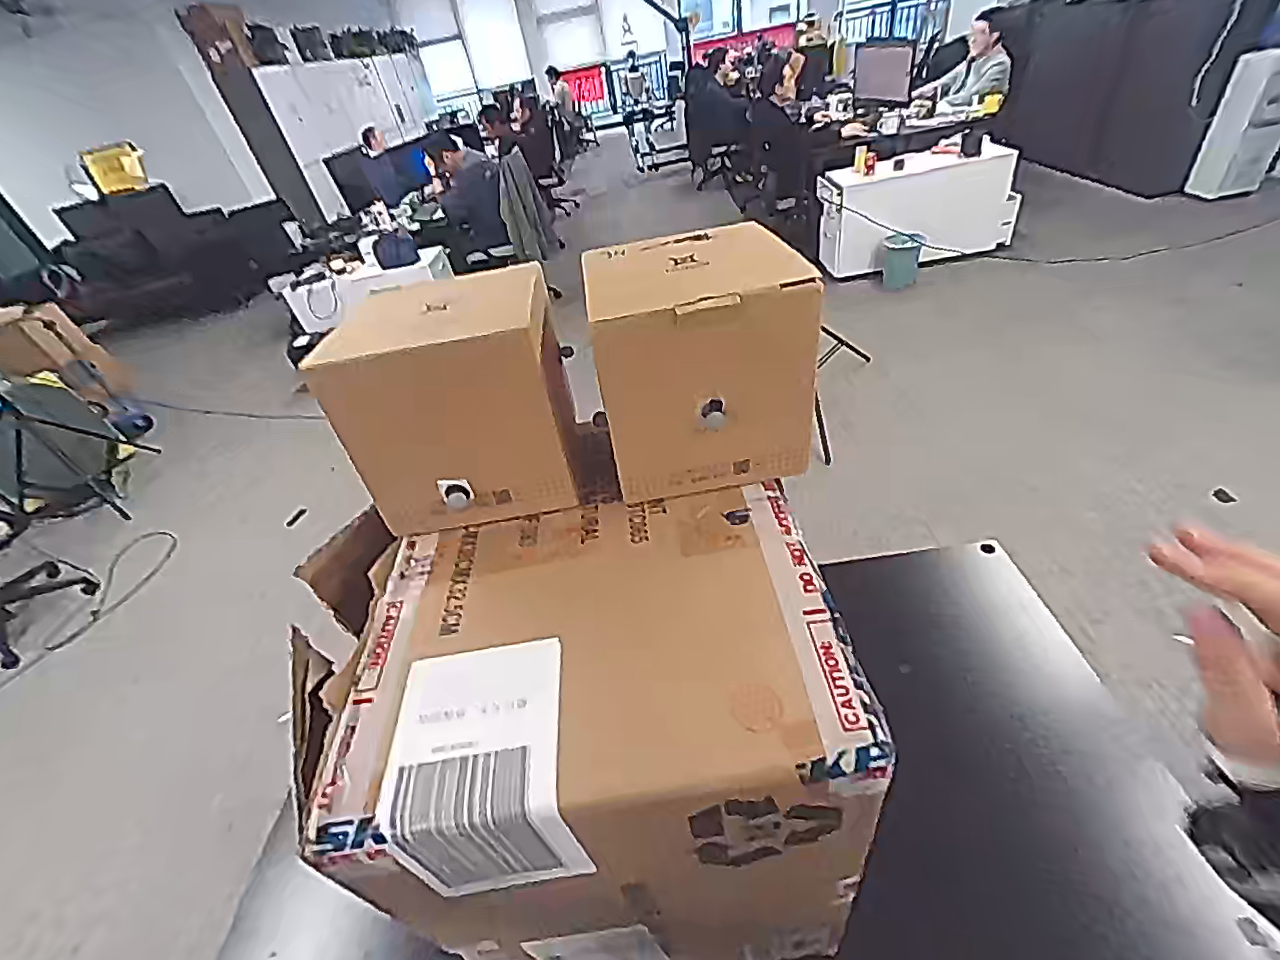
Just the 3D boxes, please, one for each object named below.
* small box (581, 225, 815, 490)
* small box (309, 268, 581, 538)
[{"bbox_3d":[0.045,-0.106,0.484,0.168,0.176,0.179,-9,39,0],"label":"small box"},{"bbox_3d":[-0.152,-0.074,0.494,0.168,0.176,0.179,-12,37,0],"label":"small box"}]
